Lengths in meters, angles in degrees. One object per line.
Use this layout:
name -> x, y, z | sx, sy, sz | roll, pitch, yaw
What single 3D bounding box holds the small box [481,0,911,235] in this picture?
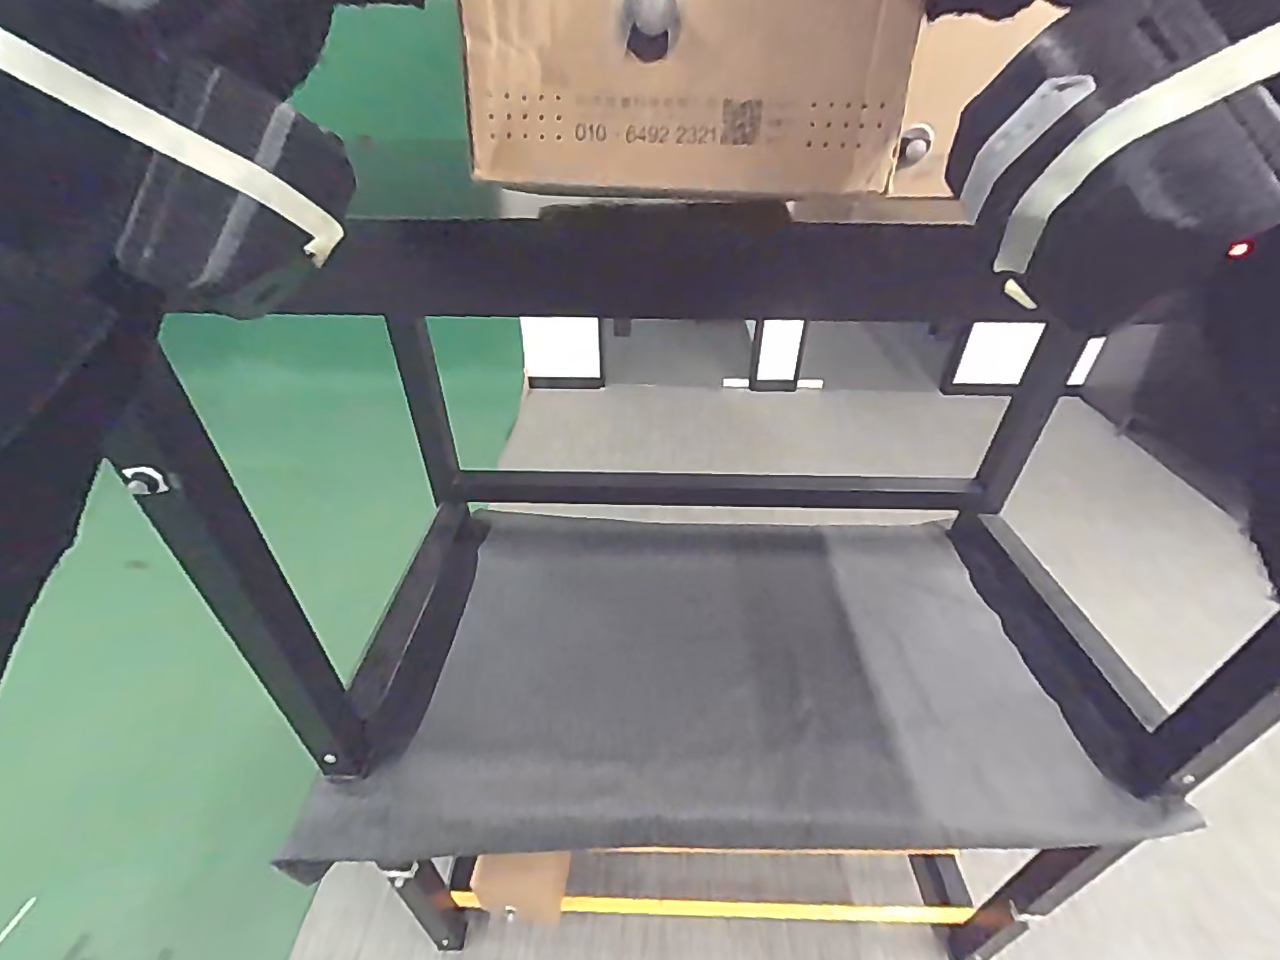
small box -> 0.019, -0.222, 0.270 | 0.168, 0.176, 0.179 | 1, 26, -1
